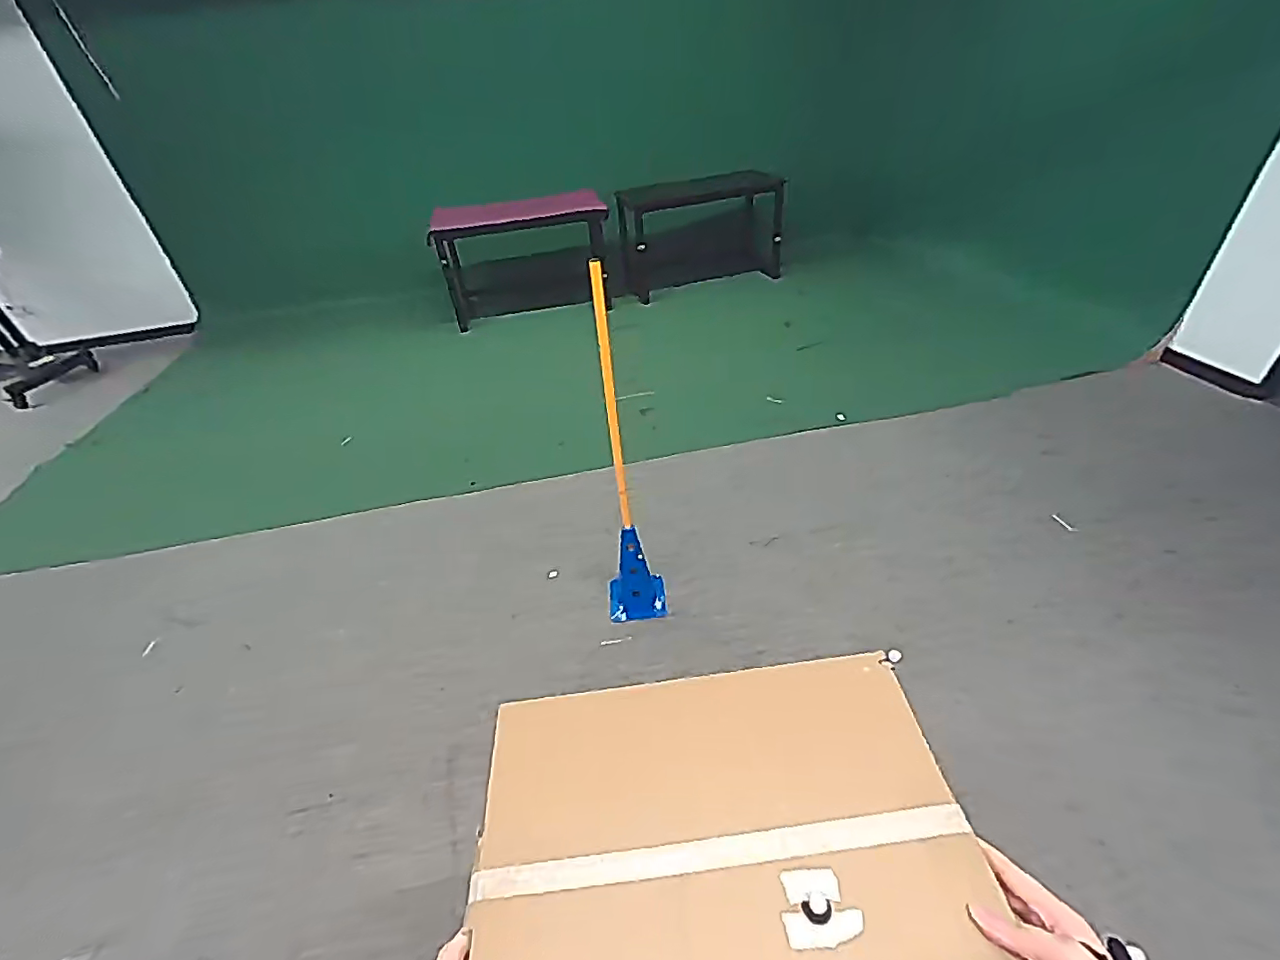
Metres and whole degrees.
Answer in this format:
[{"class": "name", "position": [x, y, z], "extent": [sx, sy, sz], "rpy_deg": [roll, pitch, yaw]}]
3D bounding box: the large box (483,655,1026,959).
[{"class": "large box", "position": [0.084, 0.422, 0.548], "extent": [0.408, 0.320, 0.320], "rpy_deg": [-7, 41, 0]}]

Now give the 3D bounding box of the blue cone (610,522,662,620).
[{"class": "blue cone", "position": [-0.027, 0.303, 1.883], "extent": [0.193, 0.380, 0.192], "rpy_deg": [-5, 36, 1]}]
